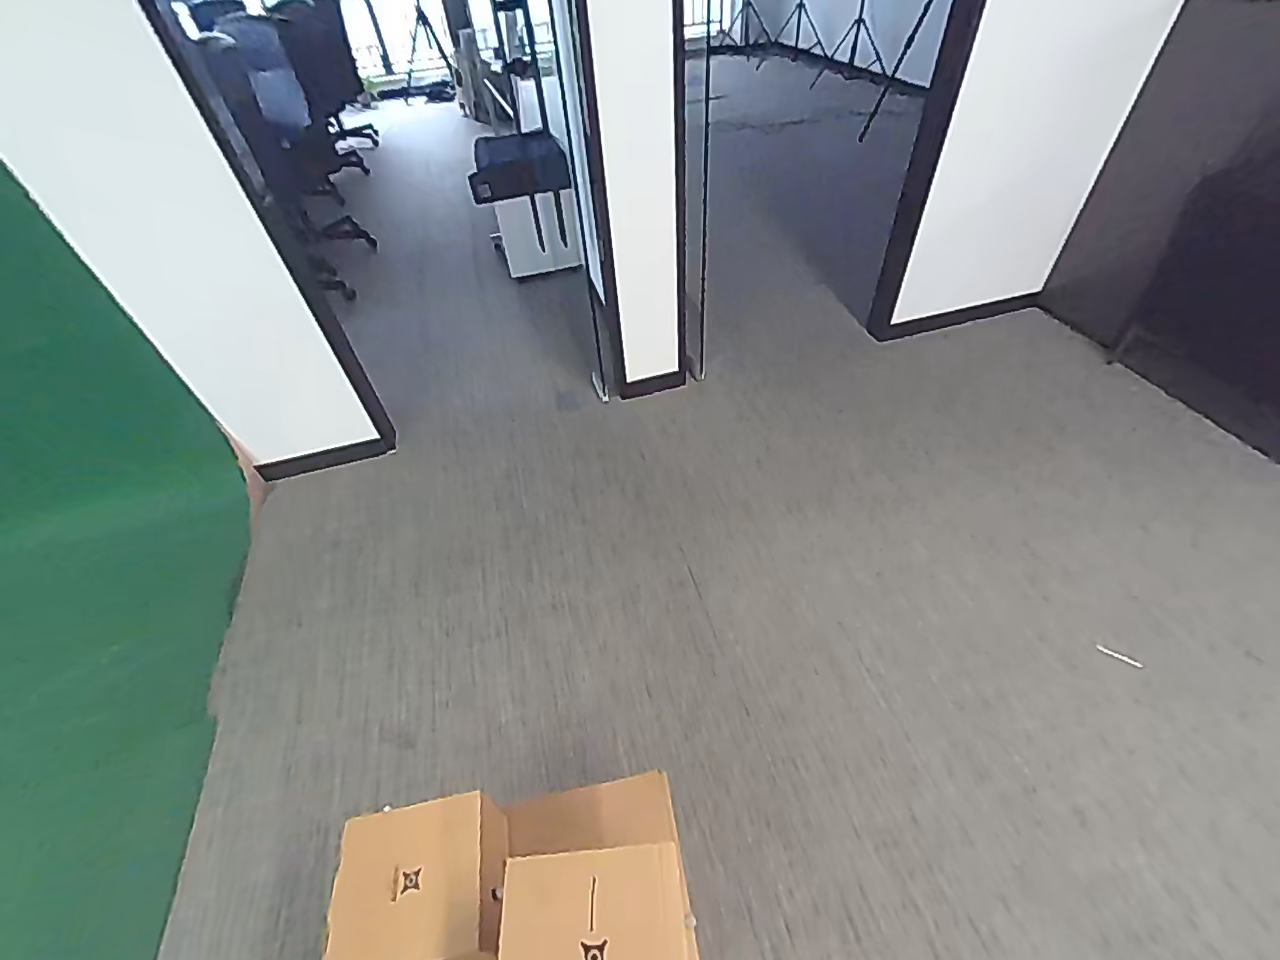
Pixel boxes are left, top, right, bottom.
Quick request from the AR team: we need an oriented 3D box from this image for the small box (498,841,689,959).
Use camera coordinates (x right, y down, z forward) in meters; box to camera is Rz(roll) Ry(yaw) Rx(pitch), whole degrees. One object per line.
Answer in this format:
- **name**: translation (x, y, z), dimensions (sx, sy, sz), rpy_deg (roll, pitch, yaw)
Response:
- **small box**: translation (-0.036, 0.471, 0.514), dimensions (0.168, 0.176, 0.179), rpy_deg (-5, 44, -1)

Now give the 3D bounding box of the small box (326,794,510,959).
- **small box**: translation (-0.270, 0.536, 0.702), dimensions (0.179, 0.176, 0.168), rpy_deg (-10, 46, -5)
